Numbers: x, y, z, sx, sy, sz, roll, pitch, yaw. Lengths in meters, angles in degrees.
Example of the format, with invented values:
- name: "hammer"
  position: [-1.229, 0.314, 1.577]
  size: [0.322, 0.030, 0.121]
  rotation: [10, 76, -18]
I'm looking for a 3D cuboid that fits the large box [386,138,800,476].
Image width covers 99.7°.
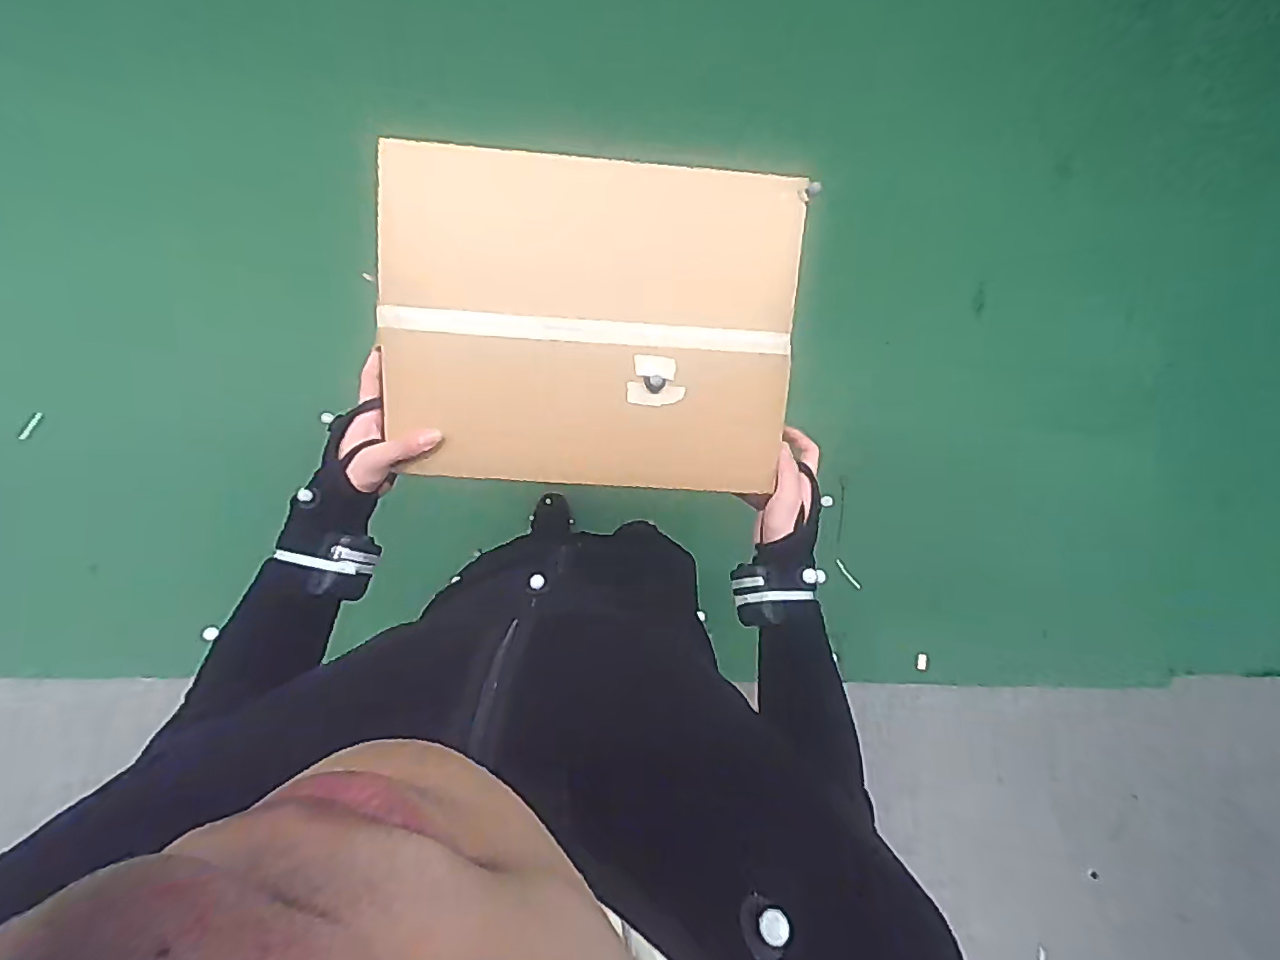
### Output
- name: "large box"
  position: [-0.059, -0.188, 0.689]
  size: [0.408, 0.320, 0.320]
  rotation: [3, 102, -5]
